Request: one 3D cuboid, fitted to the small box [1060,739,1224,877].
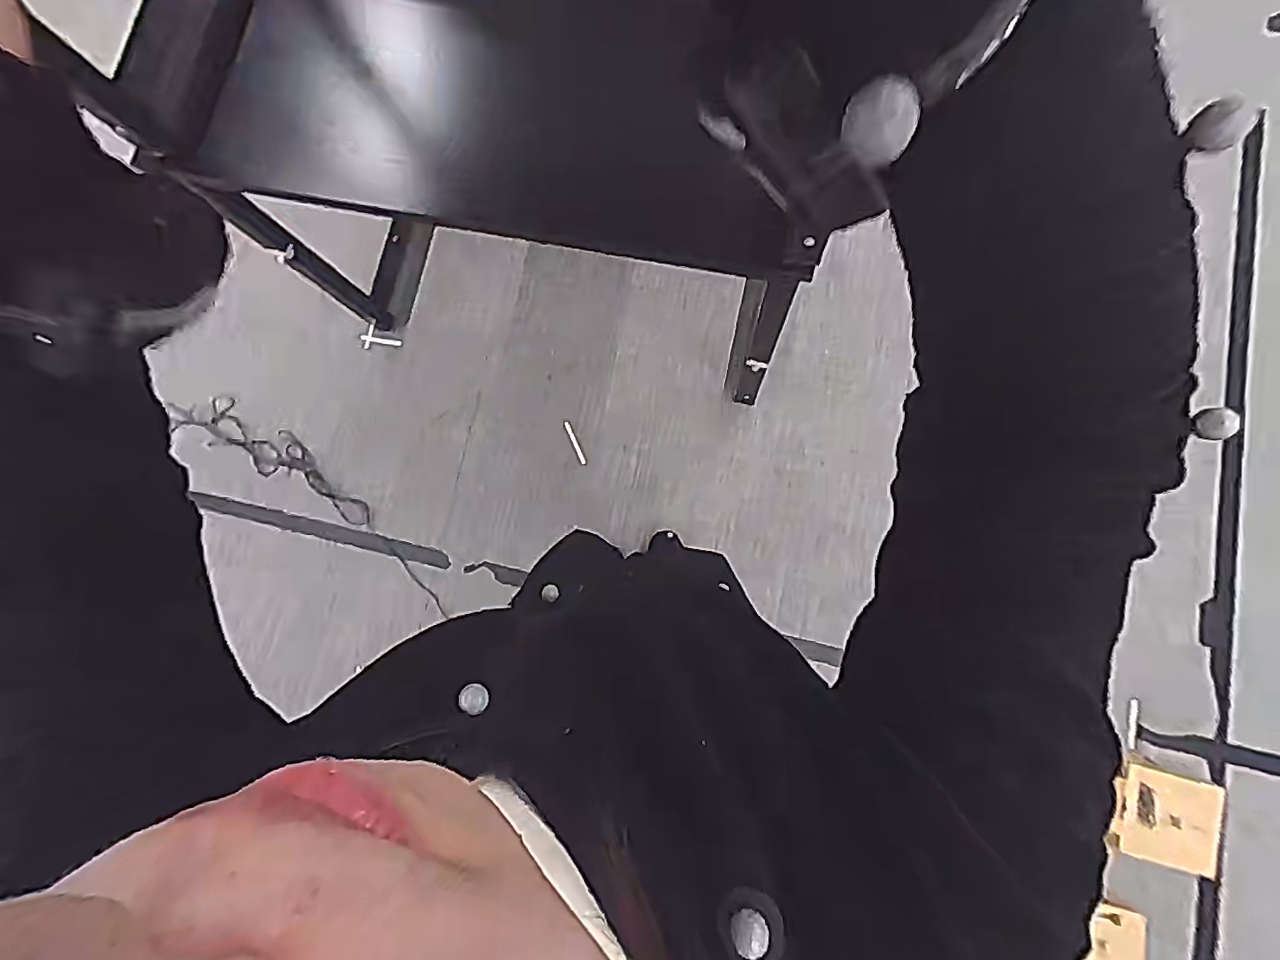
[{"bbox_3d":[1.002,0.649,1.095,0.179,0.176,0.168,13,84,6],"label":"small box"}]

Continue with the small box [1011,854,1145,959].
[{"bbox_3d":[0.972,0.995,1.215,0.168,0.176,0.179,11,84,6],"label":"small box"}]
